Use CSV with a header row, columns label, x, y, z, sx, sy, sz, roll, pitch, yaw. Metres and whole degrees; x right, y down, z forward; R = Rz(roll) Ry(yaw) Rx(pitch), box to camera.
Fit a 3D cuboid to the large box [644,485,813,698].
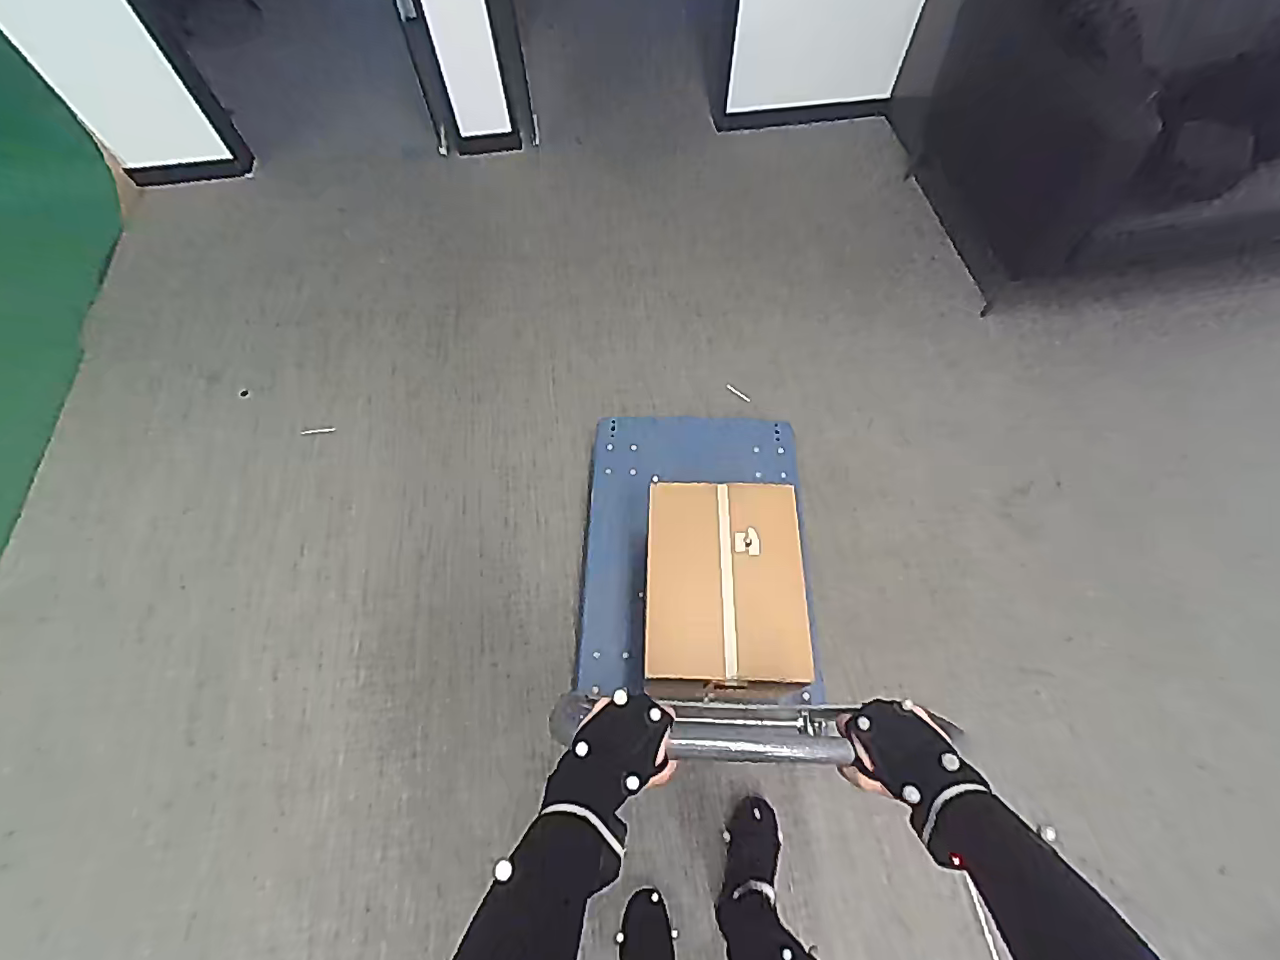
label,x,y,z,sx,sy,sz,roll,pitch,yaw
large box,0.169,0.259,1.213,0.320,0.320,0.408,1,62,0
